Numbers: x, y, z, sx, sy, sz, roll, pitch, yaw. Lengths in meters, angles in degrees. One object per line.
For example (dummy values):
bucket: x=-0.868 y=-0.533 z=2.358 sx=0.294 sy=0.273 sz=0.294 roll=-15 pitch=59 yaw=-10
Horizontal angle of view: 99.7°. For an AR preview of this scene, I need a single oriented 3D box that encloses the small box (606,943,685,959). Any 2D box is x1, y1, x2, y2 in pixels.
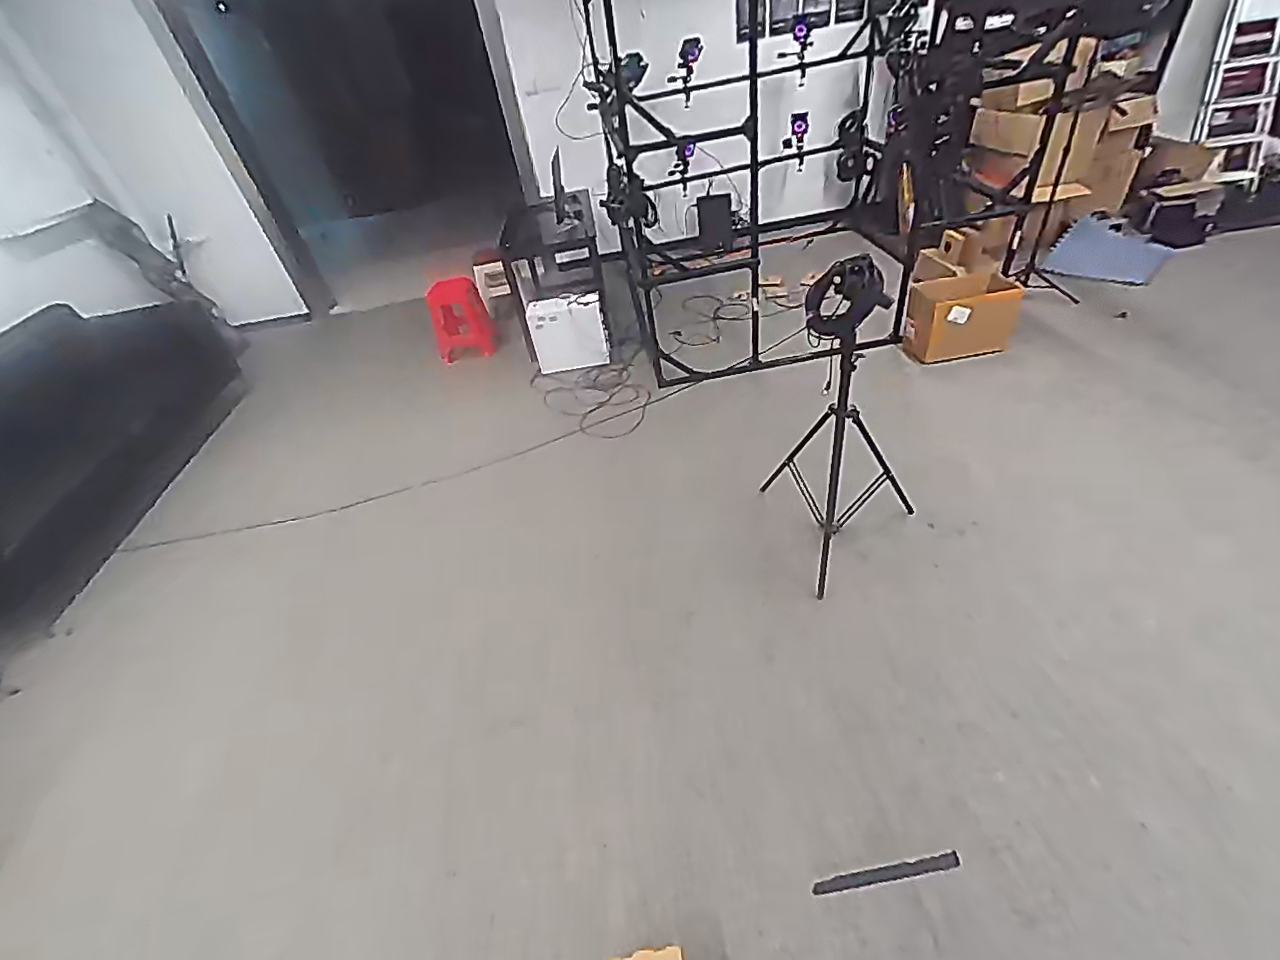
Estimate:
small box: x=0.026 y=1.117 z=1.134 sx=0.168 sy=0.176 sz=0.179 roll=-12 pitch=39 yaw=0
